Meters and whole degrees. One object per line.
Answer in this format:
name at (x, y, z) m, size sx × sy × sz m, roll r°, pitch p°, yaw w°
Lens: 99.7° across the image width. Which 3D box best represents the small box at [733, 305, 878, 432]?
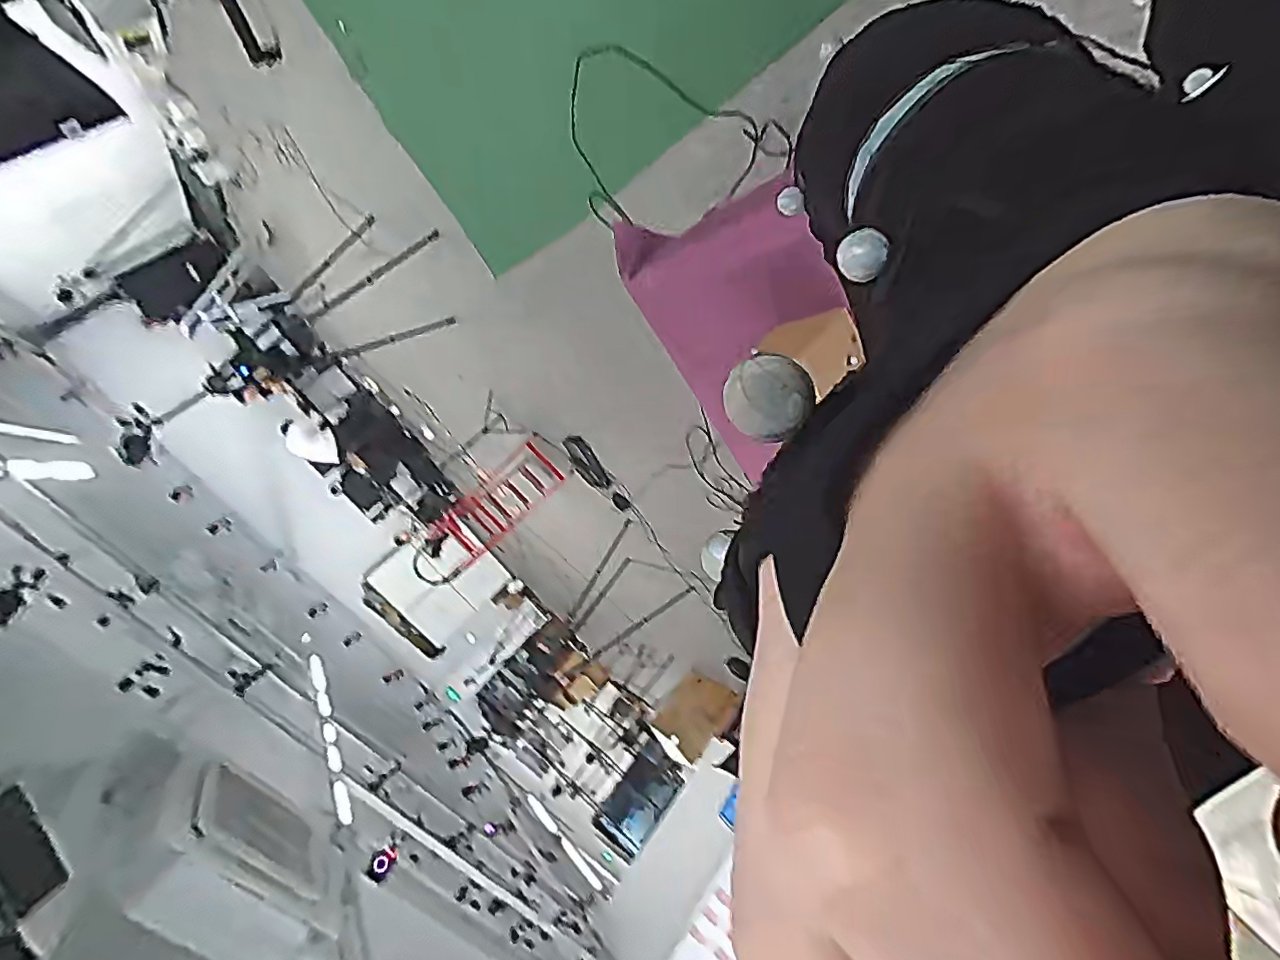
small box at (0.322, -0.211, 1.051) m, size 0.168 × 0.176 × 0.179 m, roll 53°, pitch 155°, yaw -22°
